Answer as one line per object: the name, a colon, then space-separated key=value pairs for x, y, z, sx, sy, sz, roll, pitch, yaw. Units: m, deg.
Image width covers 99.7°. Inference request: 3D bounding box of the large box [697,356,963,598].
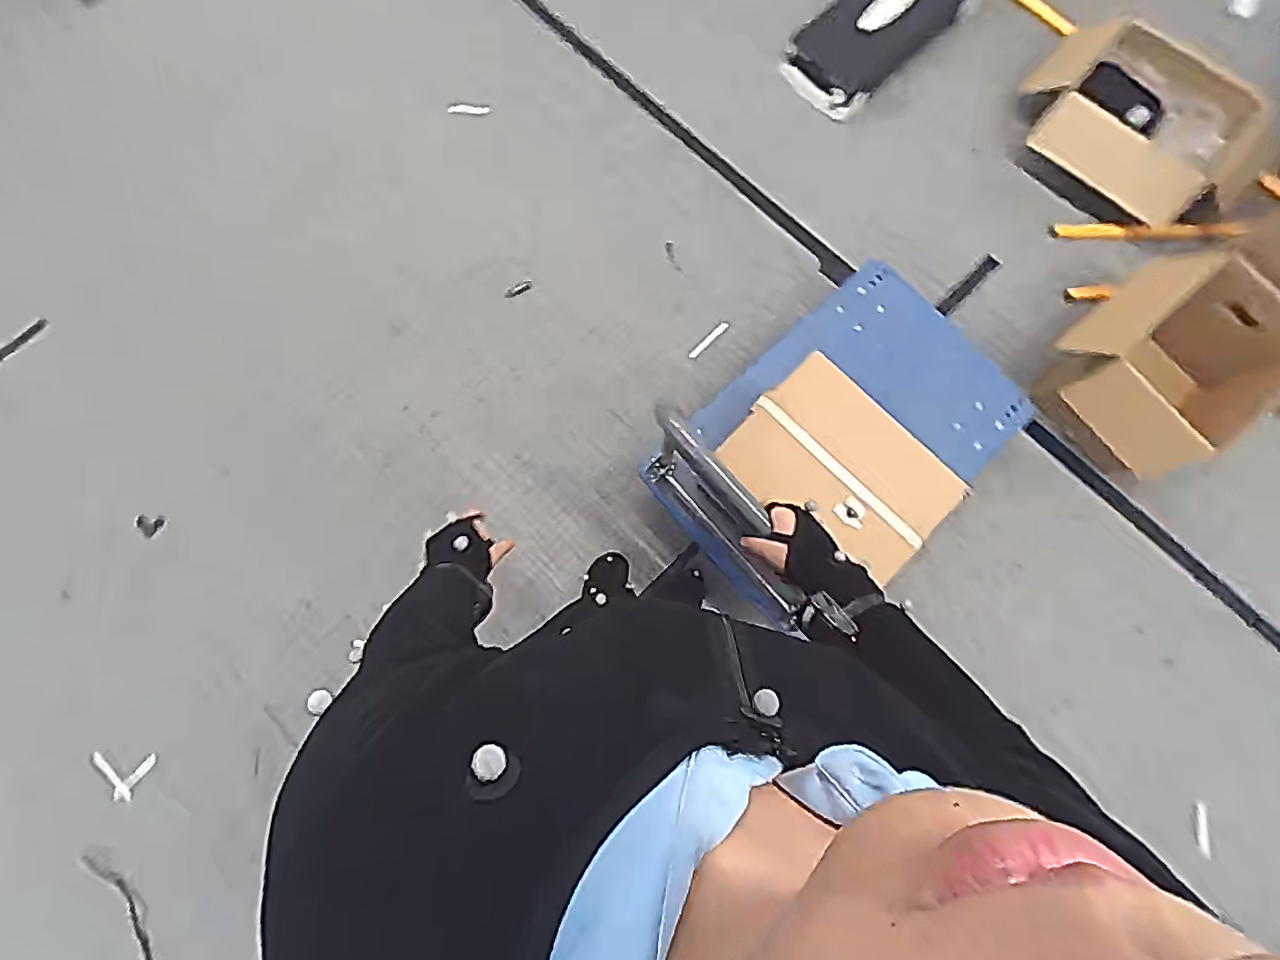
large box: x=0.387 y=0.006 z=1.208 sx=0.320 sy=0.320 sz=0.408 roll=-45 pitch=85 yaw=-6
